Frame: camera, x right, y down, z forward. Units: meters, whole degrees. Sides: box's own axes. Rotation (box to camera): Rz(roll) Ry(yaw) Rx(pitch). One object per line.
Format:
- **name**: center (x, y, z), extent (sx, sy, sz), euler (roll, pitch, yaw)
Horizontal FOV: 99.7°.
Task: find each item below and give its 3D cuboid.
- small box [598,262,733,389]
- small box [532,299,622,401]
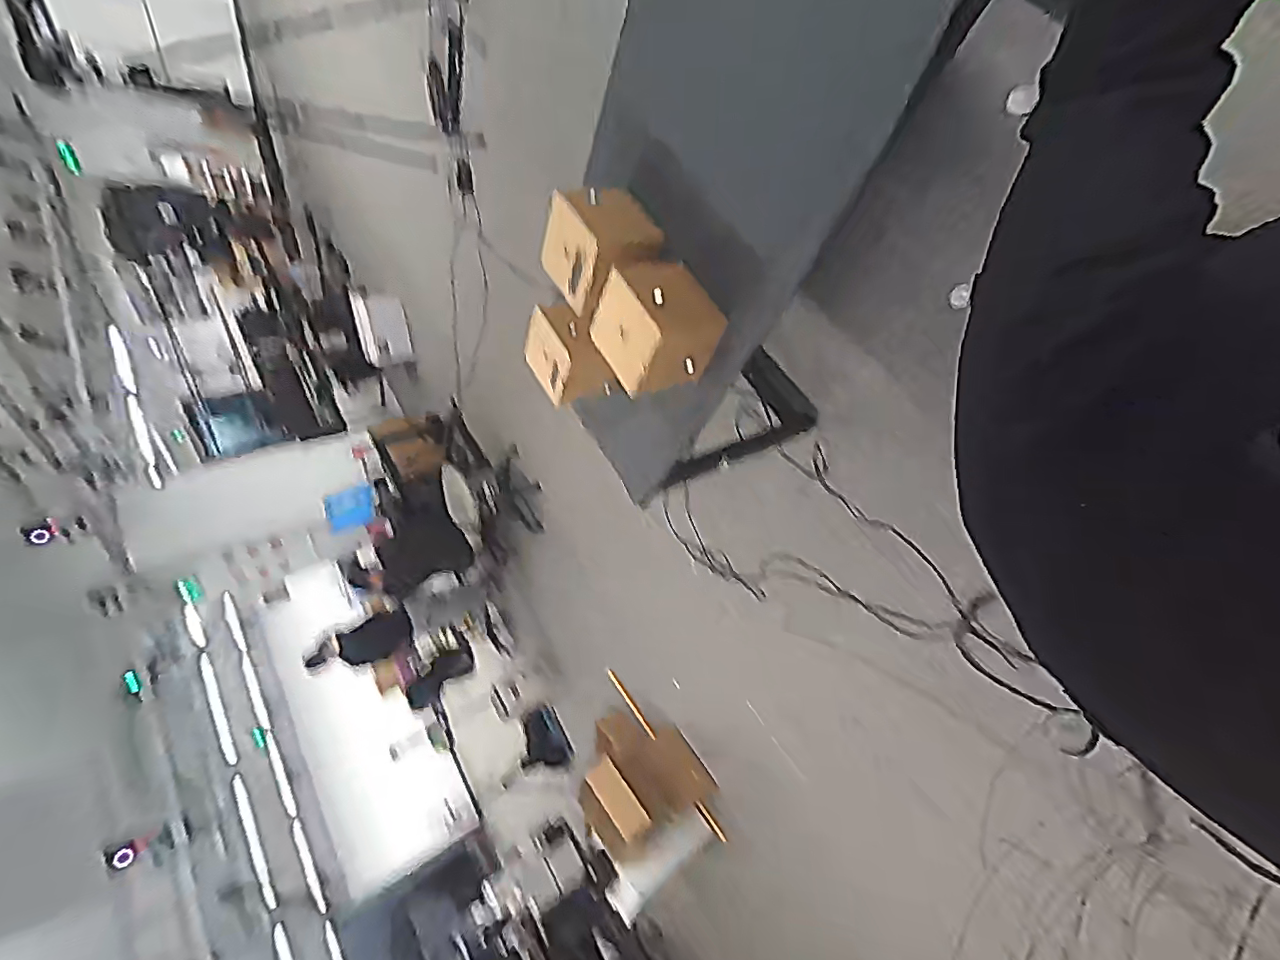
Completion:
- **small box**: center (0.048, -0.307, 1.064), extent (0.179, 0.176, 0.168), euler (58, 145, 20)
- **small box**: center (-0.140, -0.325, 1.326), extent (0.179, 0.176, 0.168), euler (57, 144, 20)
